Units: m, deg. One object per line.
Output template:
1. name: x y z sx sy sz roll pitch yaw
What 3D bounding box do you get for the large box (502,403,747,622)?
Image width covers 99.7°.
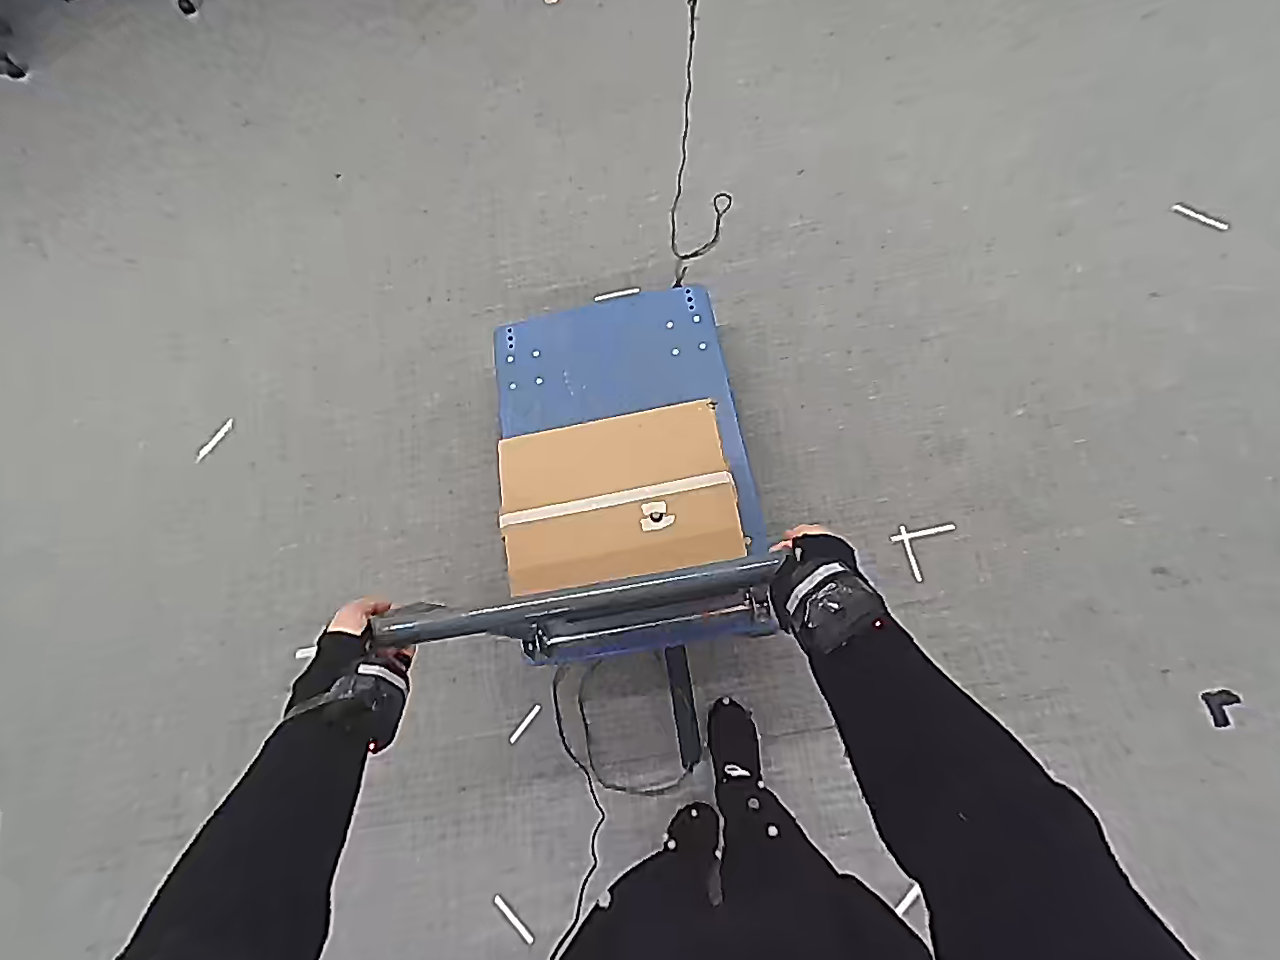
1. large box: -0.025 0.087 1.094 0.408 0.320 0.320 -11 72 3
